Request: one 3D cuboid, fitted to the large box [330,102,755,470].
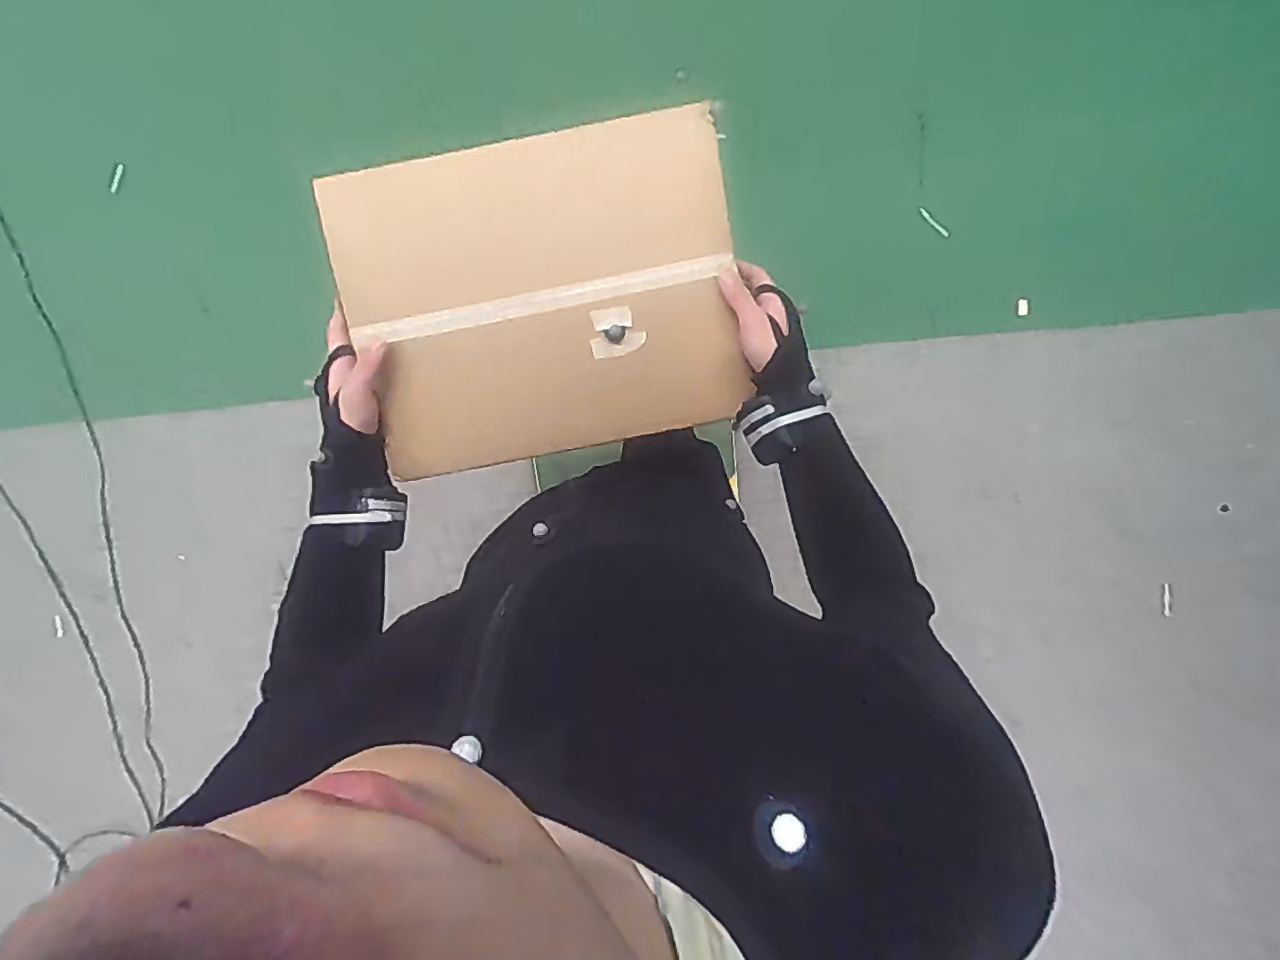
[{"bbox_3d":[-0.101,-0.218,0.718,0.408,0.320,0.320,-11,99,0],"label":"large box"}]
